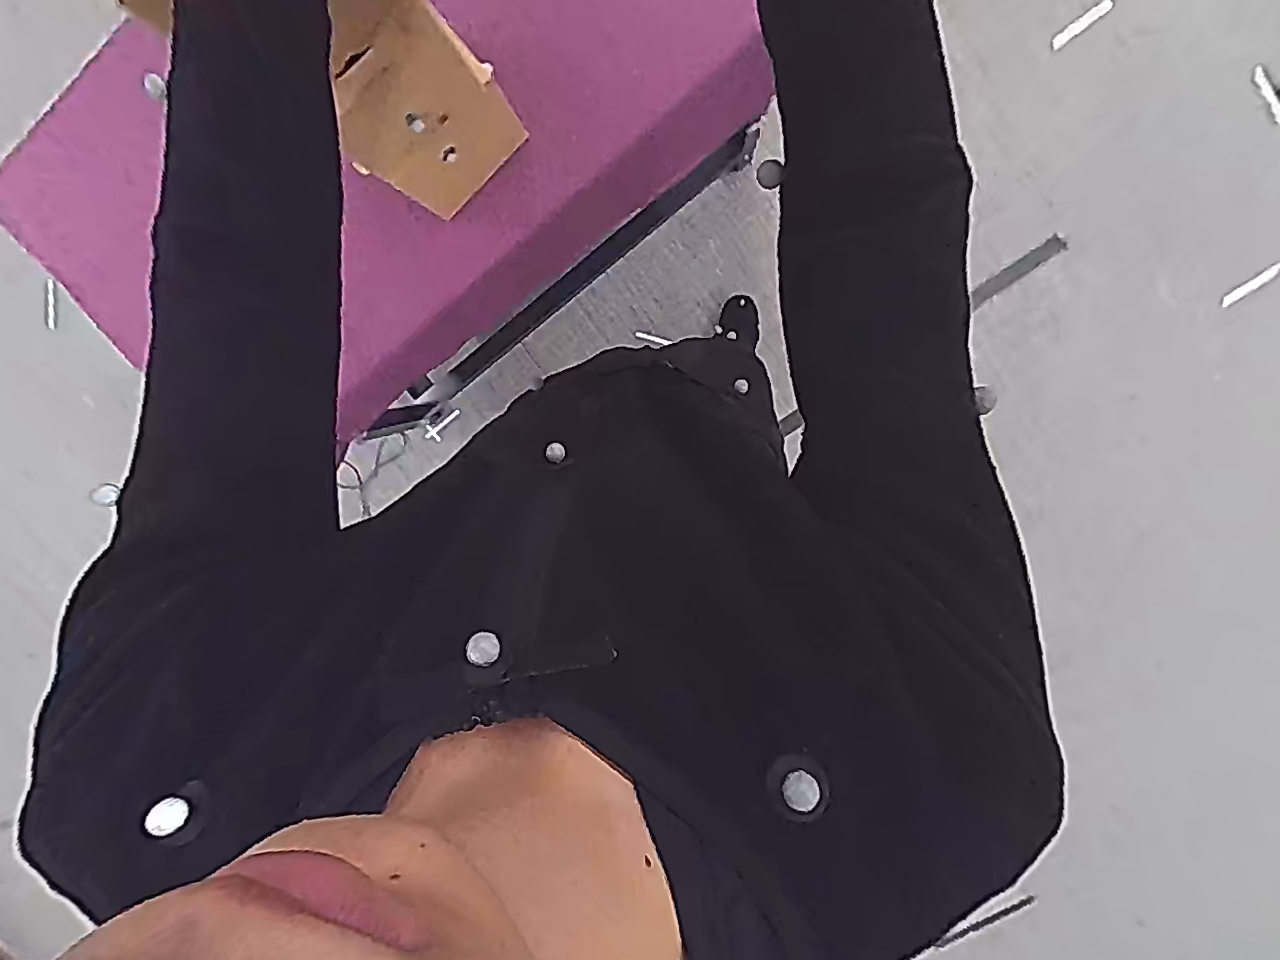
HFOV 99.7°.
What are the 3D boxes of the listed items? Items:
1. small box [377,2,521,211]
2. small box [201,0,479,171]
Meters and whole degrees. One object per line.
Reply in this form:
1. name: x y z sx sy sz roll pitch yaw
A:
1. small box: -0.285 -0.494 0.712 0.179 0.176 0.168 -41 96 11
2. small box: -0.301 -0.463 0.551 0.168 0.176 0.179 -35 97 11
